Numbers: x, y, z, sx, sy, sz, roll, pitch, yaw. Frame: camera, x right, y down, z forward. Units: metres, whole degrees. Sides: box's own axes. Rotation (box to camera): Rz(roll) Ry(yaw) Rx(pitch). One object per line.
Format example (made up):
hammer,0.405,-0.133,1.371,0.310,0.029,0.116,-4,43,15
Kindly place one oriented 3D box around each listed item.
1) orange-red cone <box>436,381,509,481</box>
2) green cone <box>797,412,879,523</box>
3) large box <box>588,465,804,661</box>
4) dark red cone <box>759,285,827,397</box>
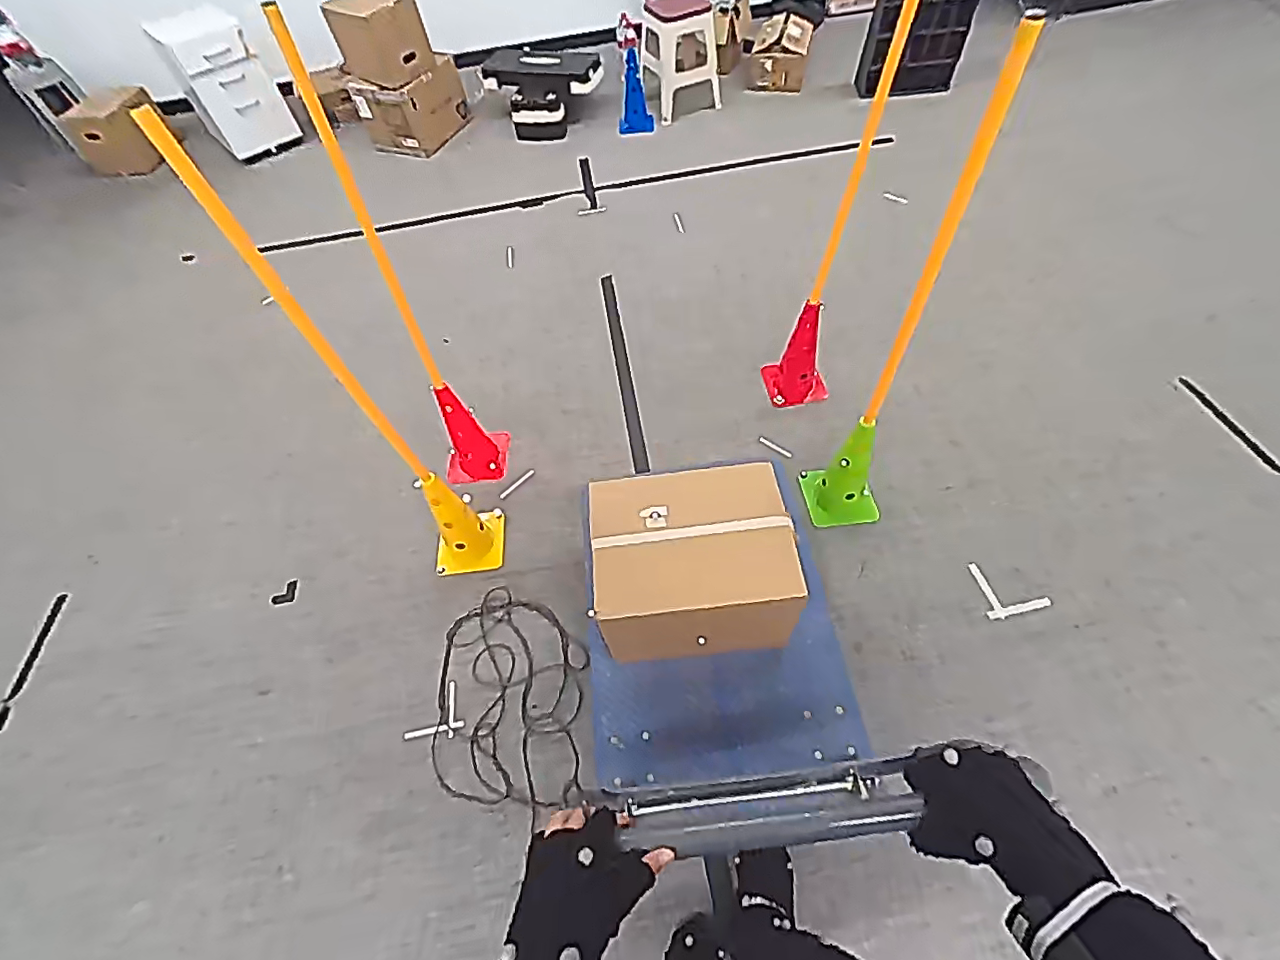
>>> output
orange-red cone,-0.565,-0.176,1.713,0.198,0.360,0.199,-4,55,2
green cone,0.592,-0.054,1.519,0.202,0.368,0.200,-6,56,0
large box,0.113,0.199,1.223,0.408,0.320,0.320,-7,56,2
dark red cone,0.531,-0.462,1.775,0.201,0.394,0.202,-9,56,-3
